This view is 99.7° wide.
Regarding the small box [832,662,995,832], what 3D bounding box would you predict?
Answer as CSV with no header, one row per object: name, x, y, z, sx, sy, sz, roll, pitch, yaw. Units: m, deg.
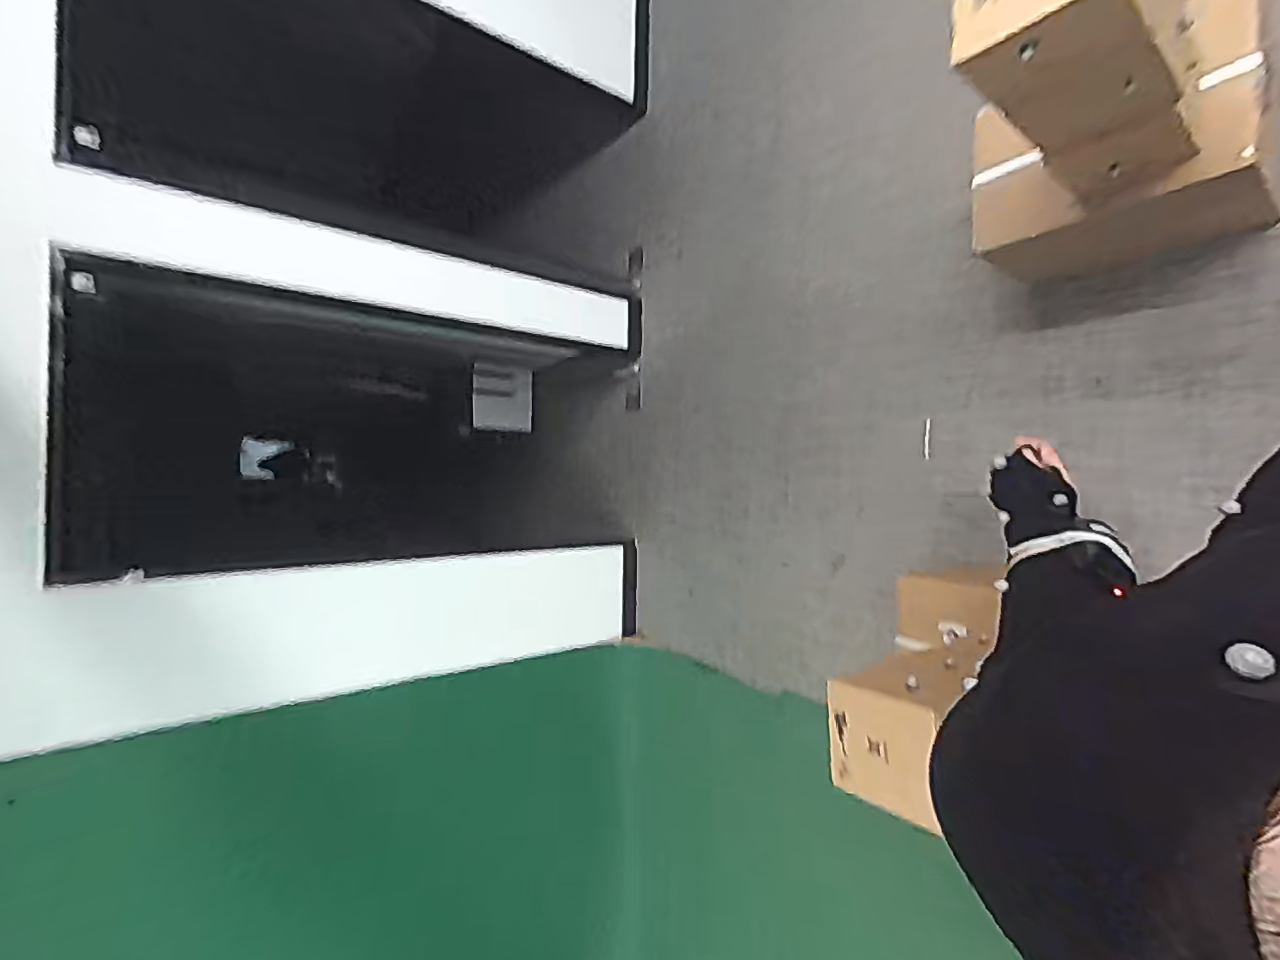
small box,0.424,0.393,0.835,0.179,0.176,0.168,-5,85,55

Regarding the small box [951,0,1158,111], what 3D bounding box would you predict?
small box,0.532,-0.623,0.697,0.179,0.176,0.168,3,93,53

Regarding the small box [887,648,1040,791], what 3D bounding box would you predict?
small box,0.558,0.395,0.930,0.179,0.176,0.168,-9,82,56

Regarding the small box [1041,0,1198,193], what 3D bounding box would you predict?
small box,0.793,-0.617,0.898,0.168,0.176,0.179,-3,89,55
